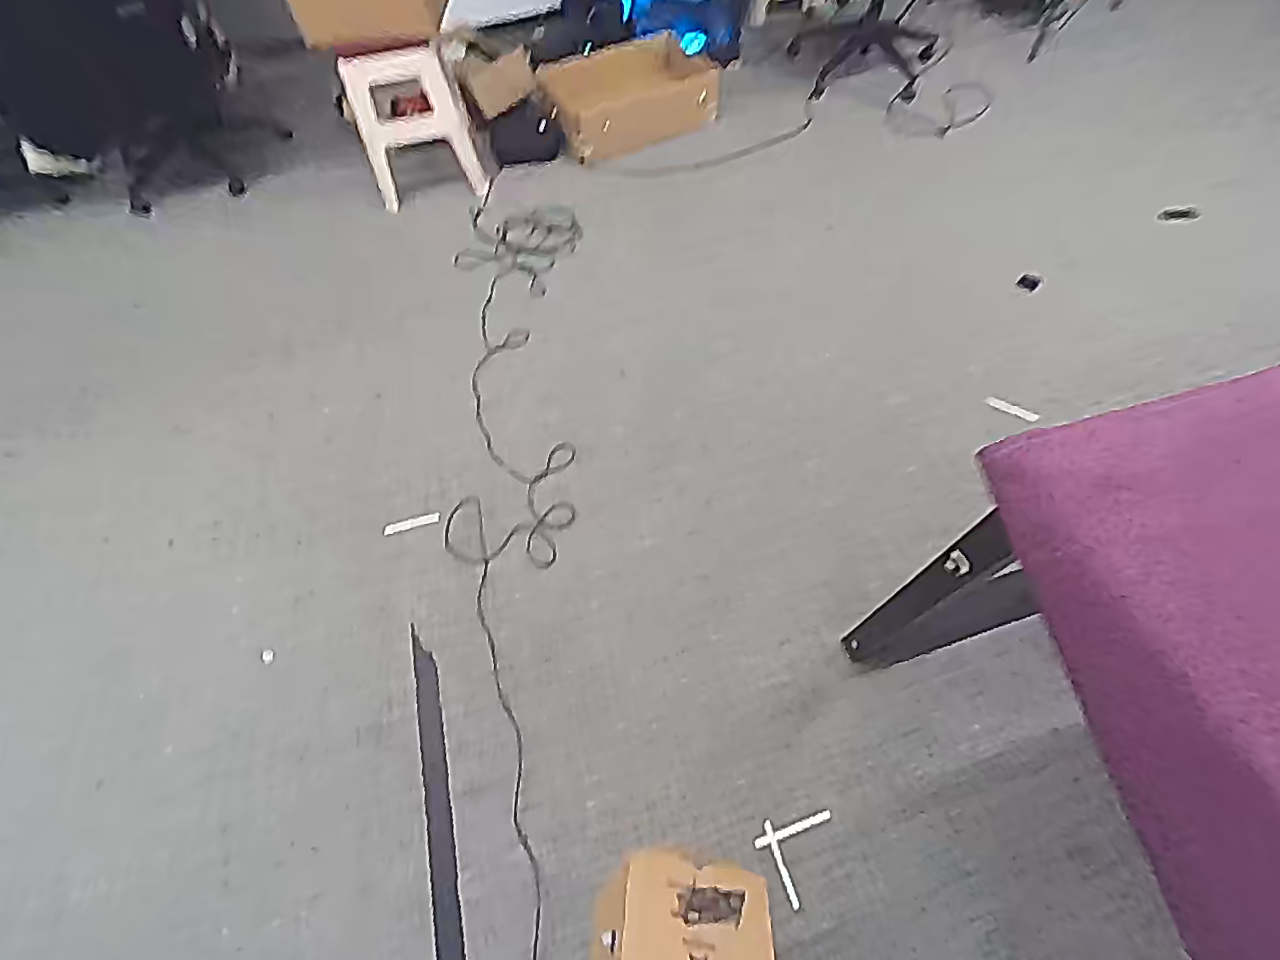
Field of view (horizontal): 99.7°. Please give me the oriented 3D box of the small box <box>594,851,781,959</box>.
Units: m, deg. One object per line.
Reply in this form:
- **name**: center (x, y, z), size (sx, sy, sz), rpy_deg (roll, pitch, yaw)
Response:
- **small box**: center (0.042, 0.542, 0.578), size (0.168, 0.176, 0.179), rpy_deg (15, 34, -5)
